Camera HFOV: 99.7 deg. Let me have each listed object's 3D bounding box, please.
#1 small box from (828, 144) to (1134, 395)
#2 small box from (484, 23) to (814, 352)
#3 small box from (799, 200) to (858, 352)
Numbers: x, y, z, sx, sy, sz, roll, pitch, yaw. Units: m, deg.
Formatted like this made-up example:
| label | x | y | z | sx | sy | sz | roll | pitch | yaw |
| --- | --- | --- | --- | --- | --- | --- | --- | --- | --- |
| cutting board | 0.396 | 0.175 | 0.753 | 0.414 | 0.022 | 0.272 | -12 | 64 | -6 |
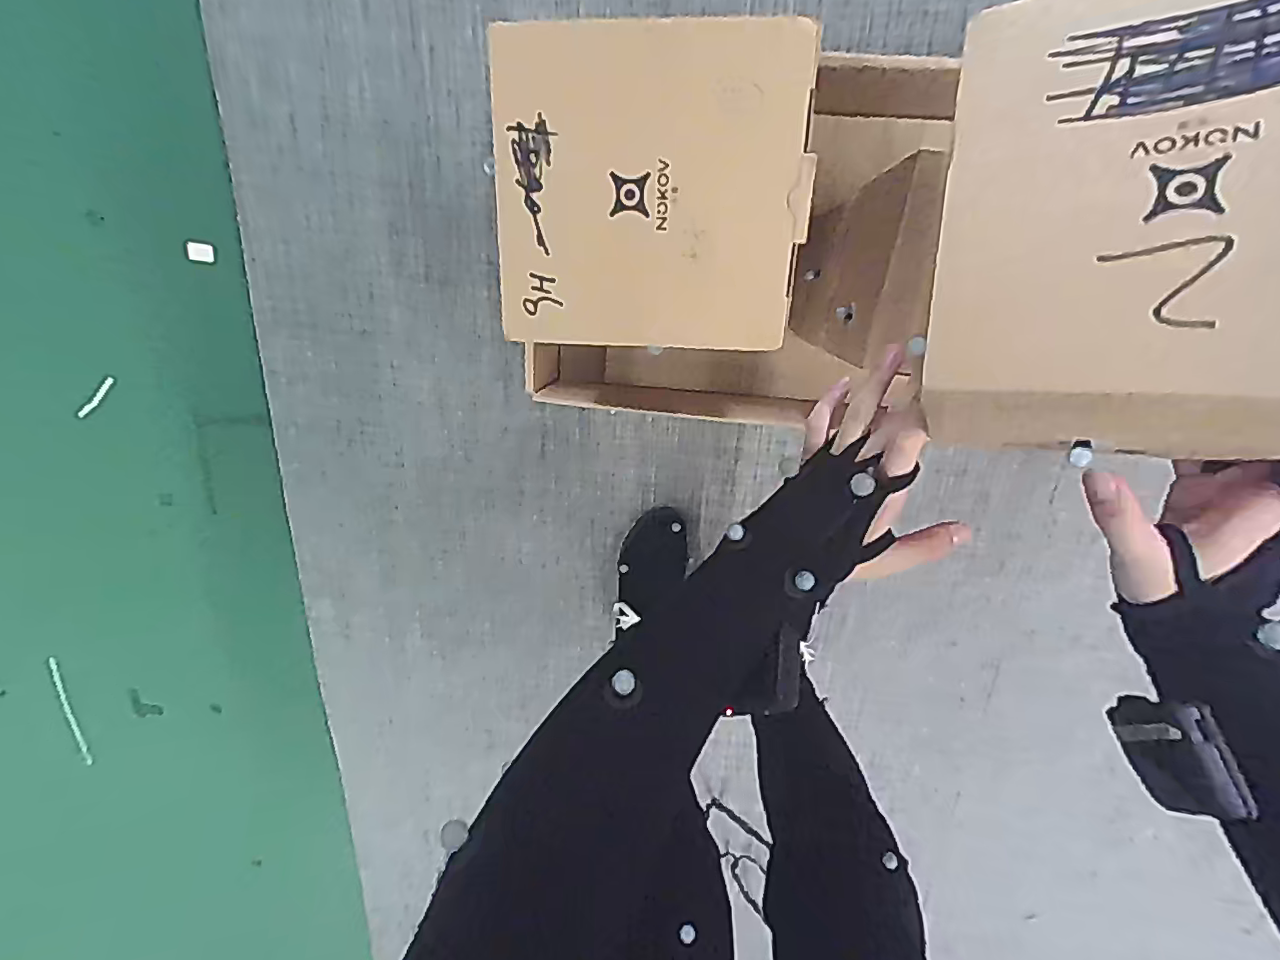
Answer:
| label | x | y | z | sx | sy | sz | roll | pitch | yaw |
| --- | --- | --- | --- | --- | --- | --- | --- | --- | --- |
| small box | 0.292 | -0.193 | 0.516 | 0.168 | 0.176 | 0.179 | 9 | 110 | 3 |
| small box | 0.008 | -0.185 | 0.382 | 0.179 | 0.176 | 0.168 | 3 | 109 | 5 |
| small box | 0.313 | -0.242 | 0.669 | 0.179 | 0.176 | 0.168 | 7 | 109 | 3 |
